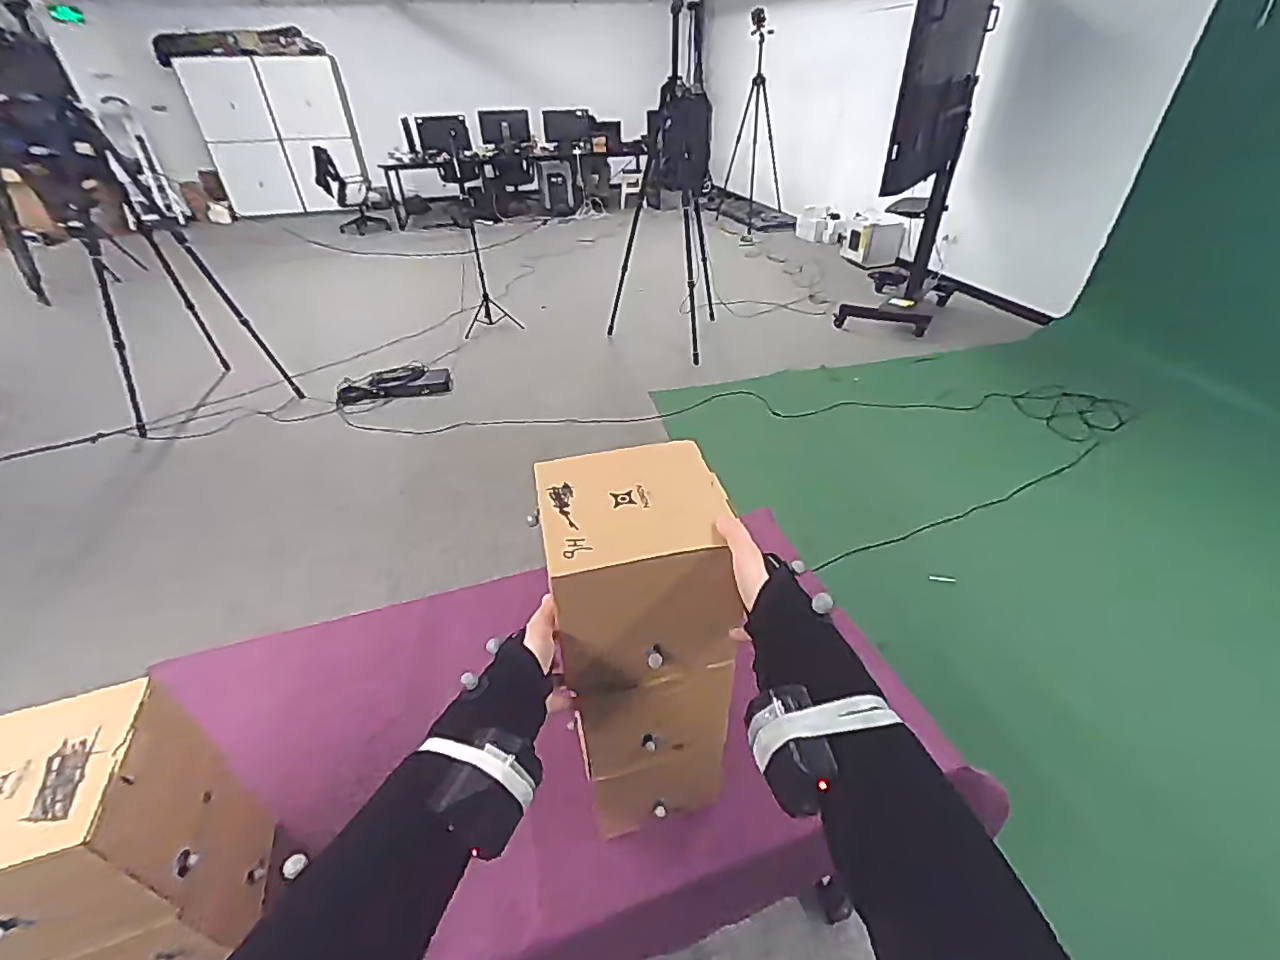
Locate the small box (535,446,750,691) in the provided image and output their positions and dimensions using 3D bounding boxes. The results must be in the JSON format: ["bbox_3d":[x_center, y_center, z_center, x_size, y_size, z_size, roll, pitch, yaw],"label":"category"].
[{"bbox_3d":[-0.007,0.087,0.552,0.179,0.176,0.168,-8,37,-10],"label":"small box"}]

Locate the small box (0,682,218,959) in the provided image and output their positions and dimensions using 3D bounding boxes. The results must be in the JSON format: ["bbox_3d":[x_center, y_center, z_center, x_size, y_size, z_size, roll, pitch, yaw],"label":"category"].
[{"bbox_3d":[-0.552,0.333,0.517,0.179,0.176,0.168,-13,38,-15],"label":"small box"}]

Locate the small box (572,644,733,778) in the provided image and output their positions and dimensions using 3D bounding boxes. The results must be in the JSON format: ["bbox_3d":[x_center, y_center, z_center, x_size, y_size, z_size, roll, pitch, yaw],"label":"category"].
[{"bbox_3d":[-0.003,0.218,0.652,0.168,0.176,0.179,-10,38,-12],"label":"small box"}]

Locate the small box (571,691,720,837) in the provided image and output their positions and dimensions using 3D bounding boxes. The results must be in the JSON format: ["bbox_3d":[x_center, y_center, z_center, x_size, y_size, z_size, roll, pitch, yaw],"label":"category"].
[{"bbox_3d":[-0.001,0.349,0.748,0.168,0.176,0.179,-11,38,-11],"label":"small box"}]
